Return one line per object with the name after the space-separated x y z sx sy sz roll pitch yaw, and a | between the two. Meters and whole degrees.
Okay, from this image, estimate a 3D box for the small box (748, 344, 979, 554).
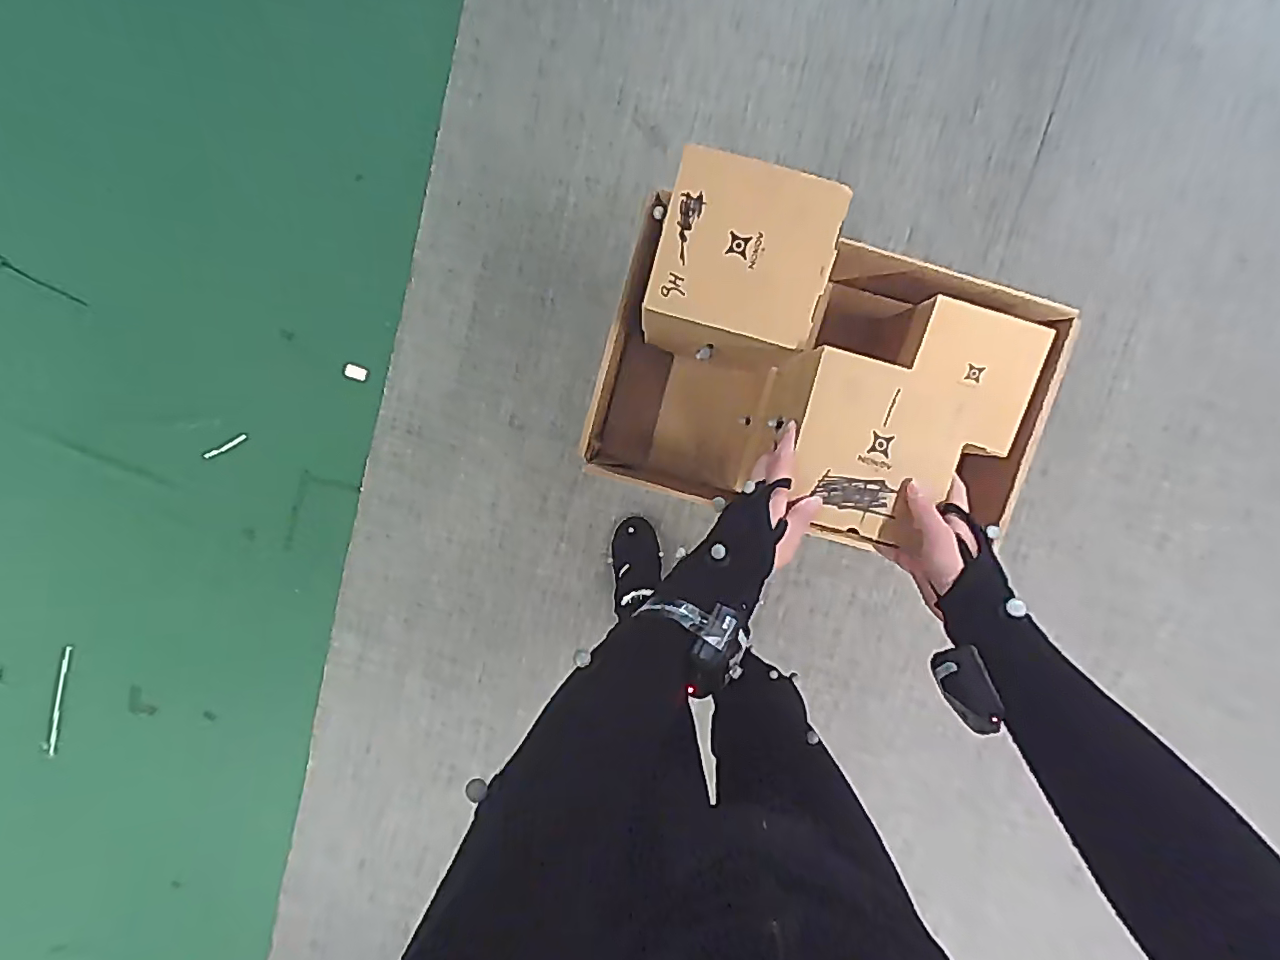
0.233 -0.035 0.615 0.168 0.176 0.179 15 93 -3 | small box

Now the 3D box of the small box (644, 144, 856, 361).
0.109 -0.240 0.620 0.179 0.176 0.168 16 97 -2 | small box
